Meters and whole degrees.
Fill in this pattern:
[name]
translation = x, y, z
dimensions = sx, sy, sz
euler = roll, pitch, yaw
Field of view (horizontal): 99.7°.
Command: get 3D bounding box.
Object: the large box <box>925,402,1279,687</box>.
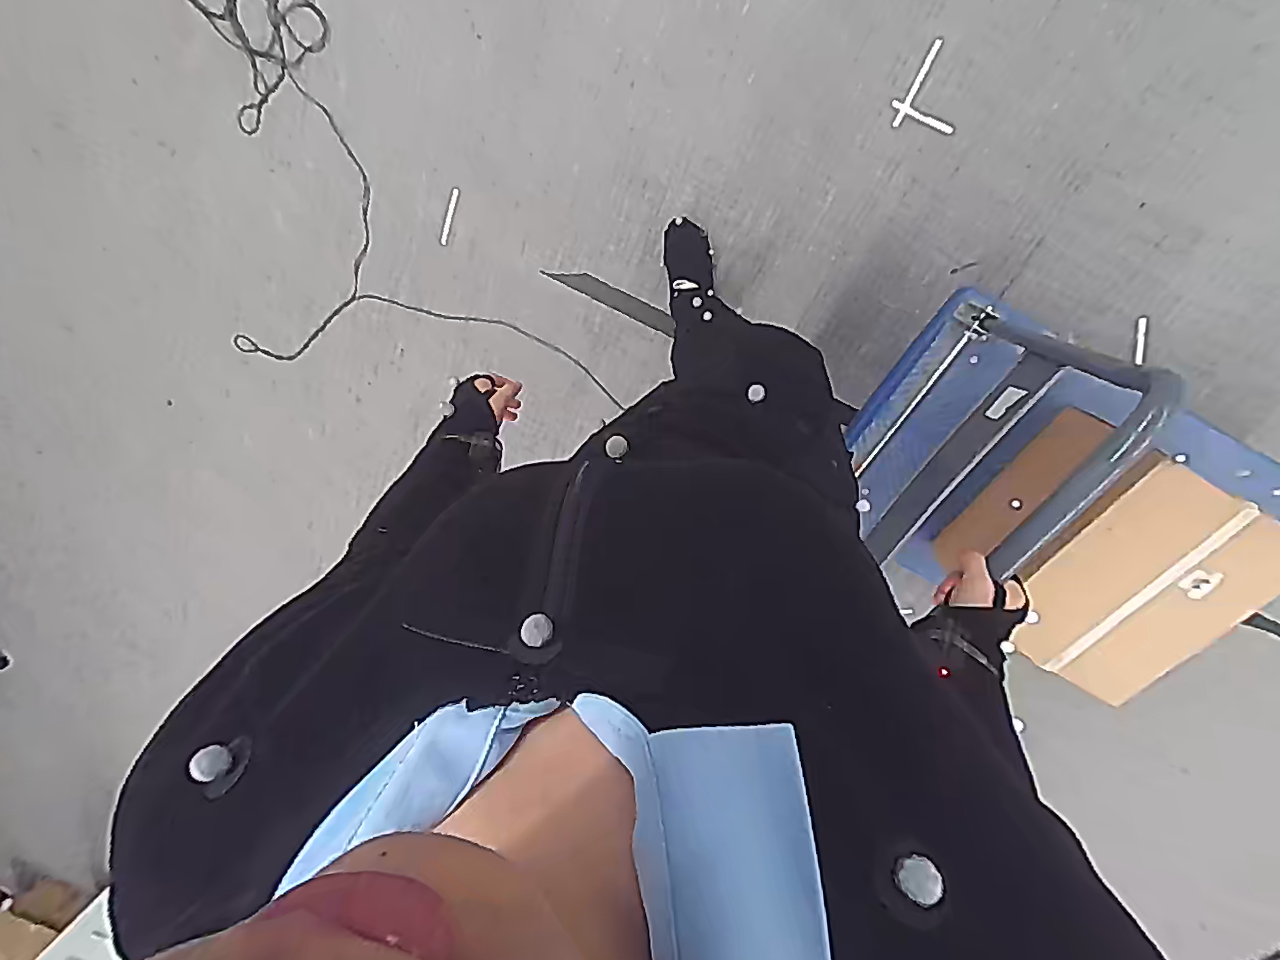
[large box]
translation = 0.868, 0.115, 1.085
dimensions = 0.320, 0.320, 0.408
euler = 30, 114, -2
